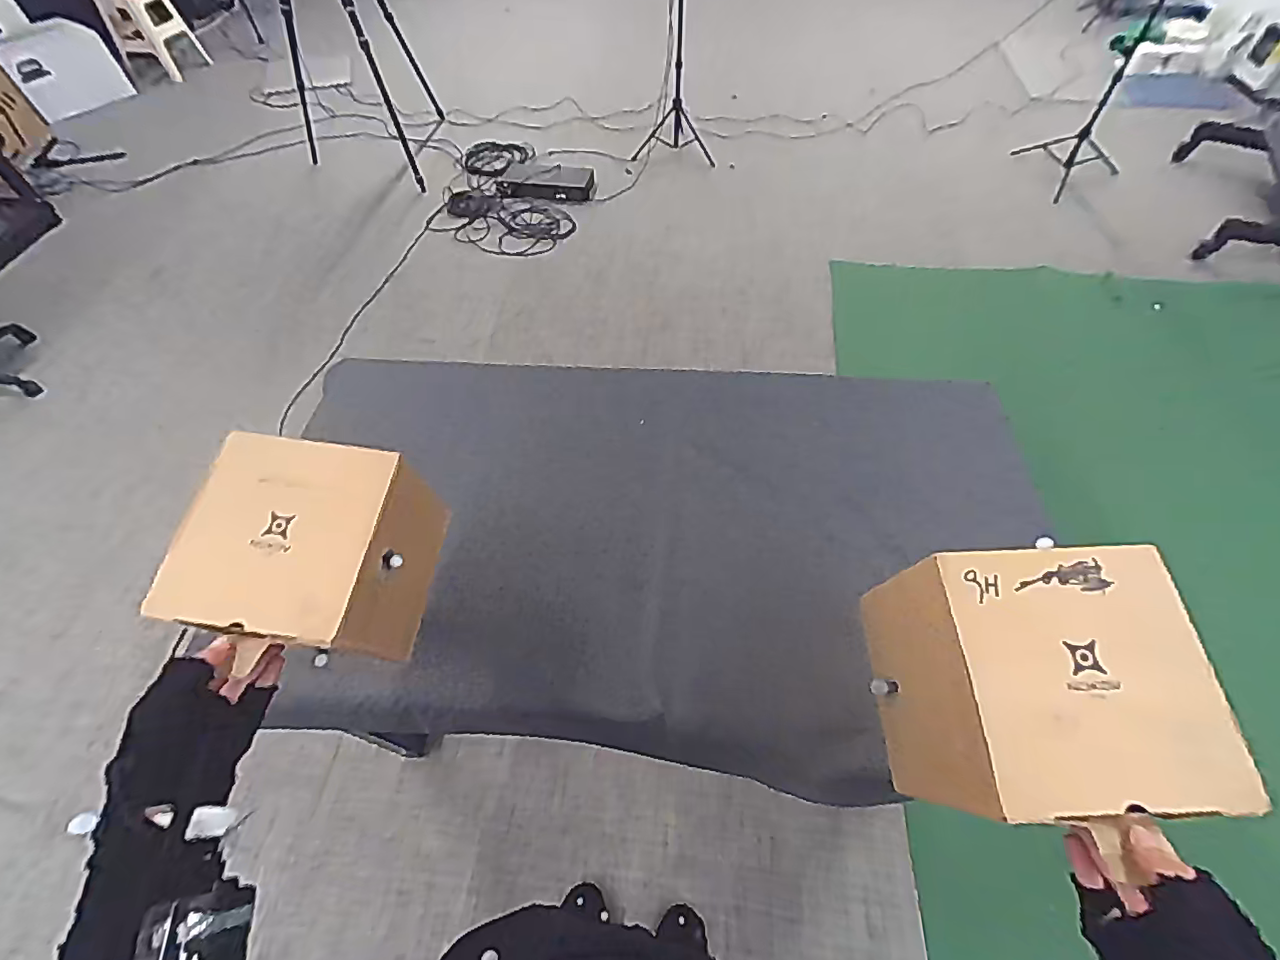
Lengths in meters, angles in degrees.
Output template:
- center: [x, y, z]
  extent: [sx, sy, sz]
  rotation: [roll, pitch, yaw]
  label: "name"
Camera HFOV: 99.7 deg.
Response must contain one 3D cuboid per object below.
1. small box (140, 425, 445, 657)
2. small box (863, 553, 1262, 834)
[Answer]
- center: [-0.315, 0.071, 0.540]
  extent: [0.168, 0.176, 0.179]
  rotation: [10, 66, 1]
  label: "small box"
- center: [0.304, 0.167, 0.441]
  extent: [0.168, 0.176, 0.179]
  rotation: [-2, 67, 0]
  label: "small box"
